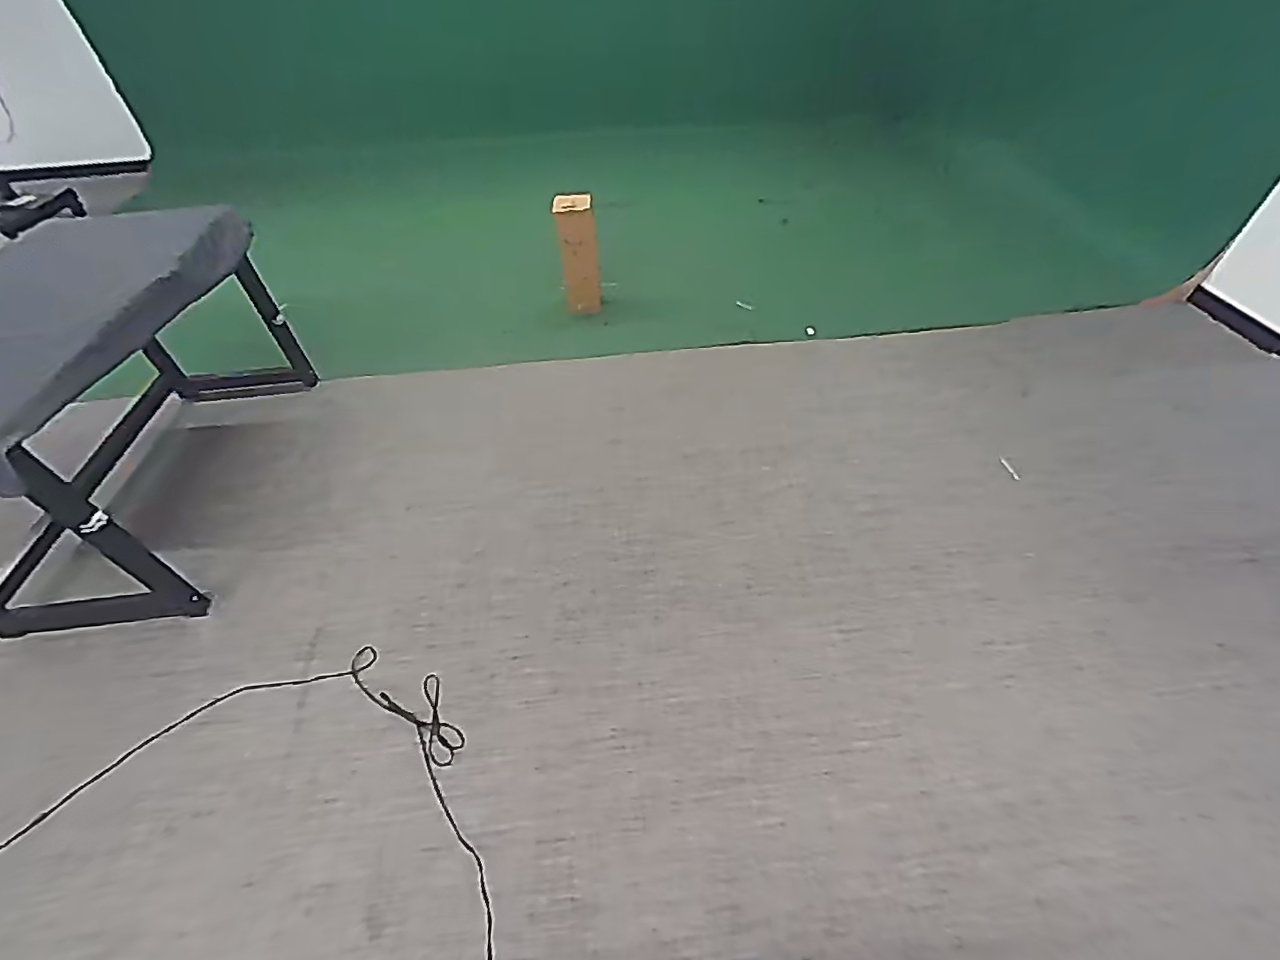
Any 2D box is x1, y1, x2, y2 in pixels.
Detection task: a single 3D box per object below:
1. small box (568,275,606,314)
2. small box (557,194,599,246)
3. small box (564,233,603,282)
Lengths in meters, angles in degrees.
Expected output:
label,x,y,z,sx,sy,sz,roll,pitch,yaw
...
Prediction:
label,x,y,z,sx,sy,sz,roll,pitch,yaw
small box,-0.263,-0.950,2.701,0.168,0.176,0.179,-5,49,0
small box,-0.279,-1.180,2.466,0.168,0.176,0.179,-3,47,0
small box,-0.268,-1.064,2.584,0.168,0.176,0.179,-4,47,1
